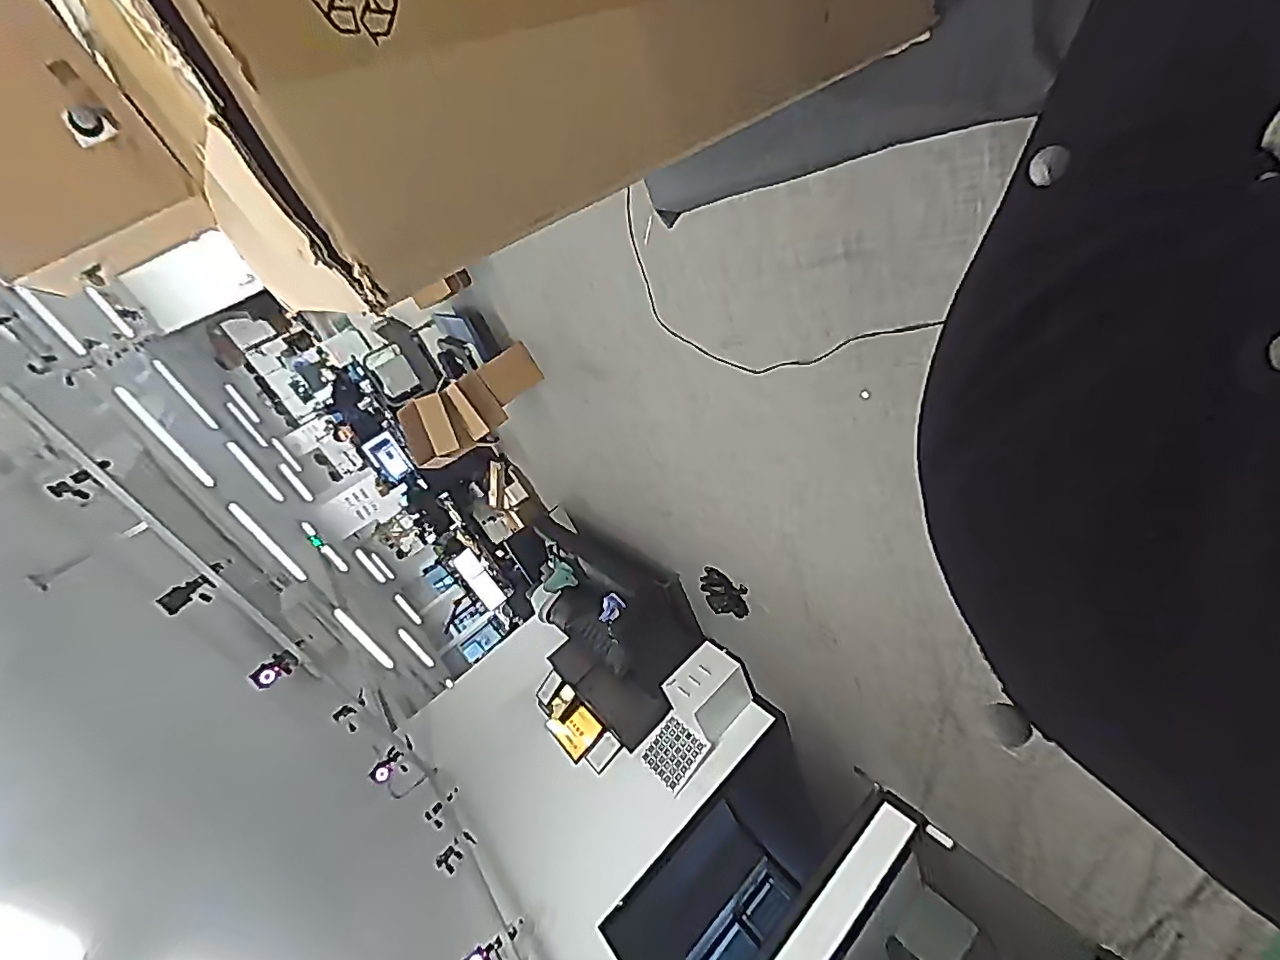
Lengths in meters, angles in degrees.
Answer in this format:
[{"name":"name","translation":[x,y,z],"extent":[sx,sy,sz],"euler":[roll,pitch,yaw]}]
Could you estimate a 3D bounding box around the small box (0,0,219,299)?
[{"name":"small box","translation":[-0.517,-0.284,0.480],"extent":[0.179,0.176,0.168],"euler":[16,144,54]}]
